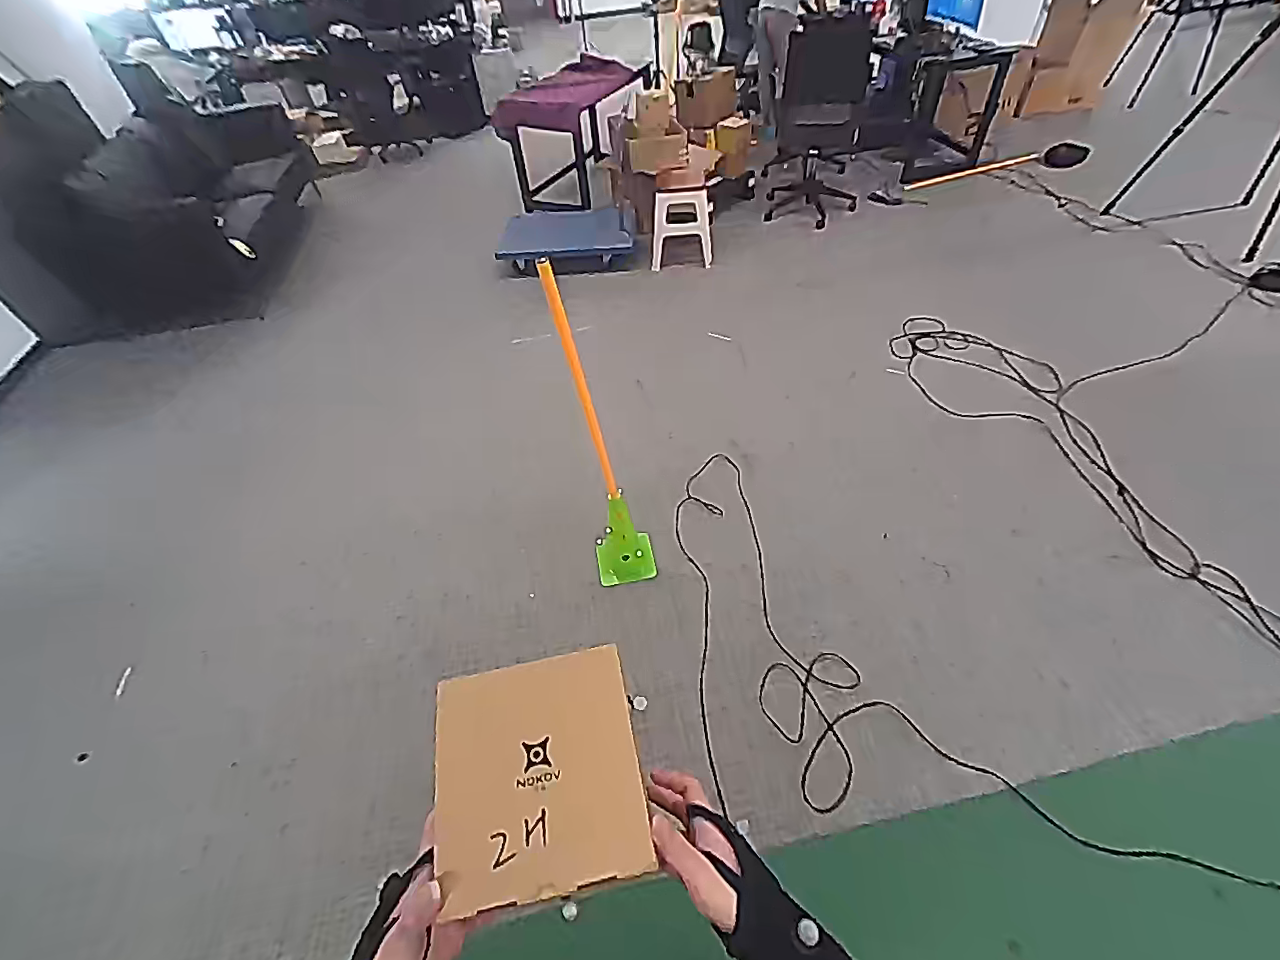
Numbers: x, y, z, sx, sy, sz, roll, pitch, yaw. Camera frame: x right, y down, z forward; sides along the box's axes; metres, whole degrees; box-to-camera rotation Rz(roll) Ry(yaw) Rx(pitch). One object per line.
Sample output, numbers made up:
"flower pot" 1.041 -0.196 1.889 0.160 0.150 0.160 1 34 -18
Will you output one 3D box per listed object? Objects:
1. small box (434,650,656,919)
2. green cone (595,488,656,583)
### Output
"small box" -0.081 0.287 0.512 0.168 0.176 0.179 -11 54 -4
"green cone" -0.064 0.163 1.832 0.202 0.368 0.200 -9 48 -5
